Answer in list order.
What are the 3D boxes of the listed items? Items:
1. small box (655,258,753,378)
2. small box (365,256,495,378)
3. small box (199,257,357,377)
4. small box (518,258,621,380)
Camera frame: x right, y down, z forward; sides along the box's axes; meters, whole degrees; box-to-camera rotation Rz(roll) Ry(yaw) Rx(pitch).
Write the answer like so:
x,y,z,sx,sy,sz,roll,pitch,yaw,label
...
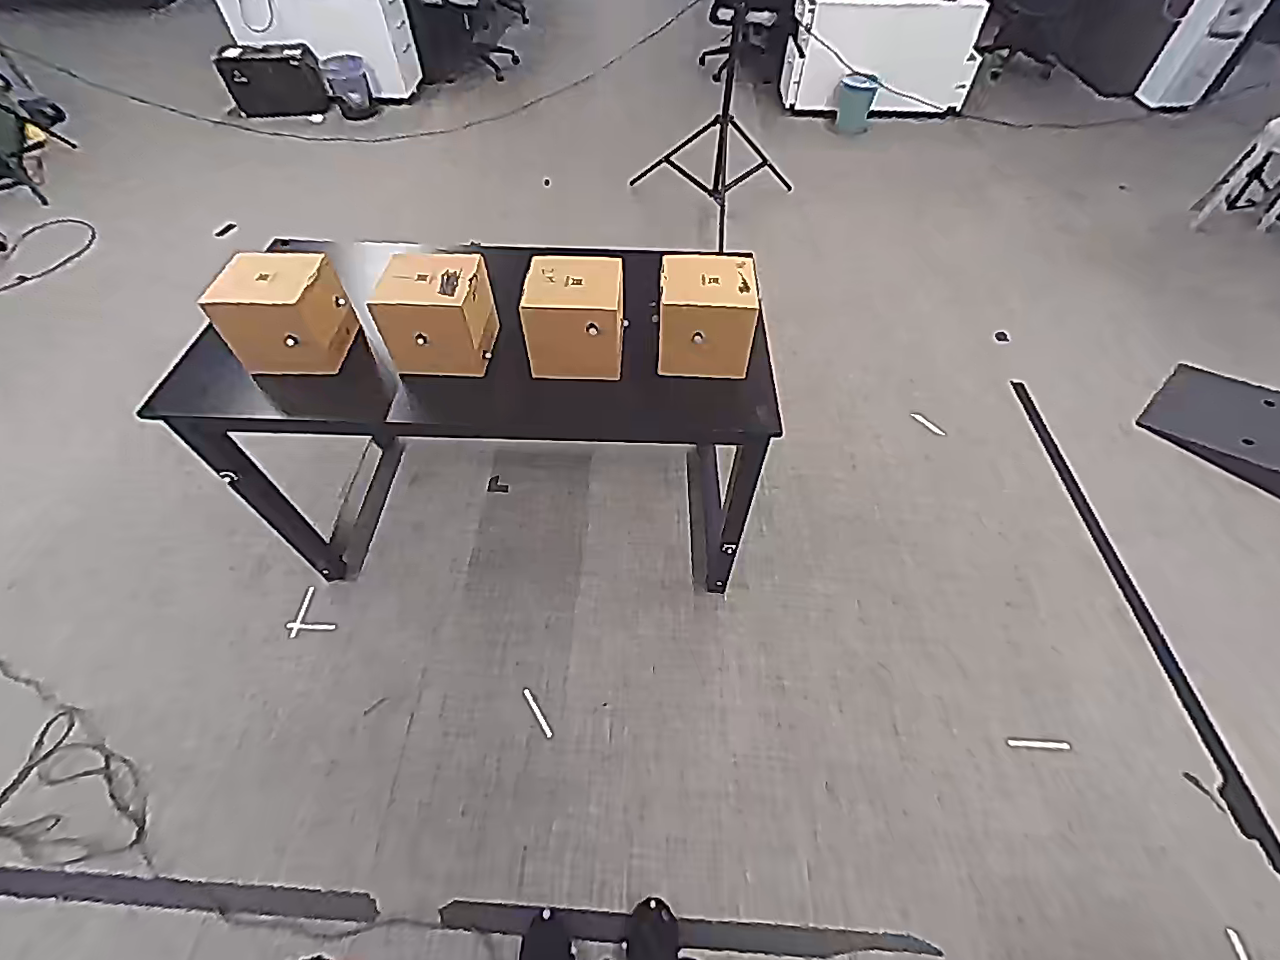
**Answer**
x,y,z,sx,sy,sz,roll,pitch,yaw,label
0.121,-0.316,1.068,0.179,0.176,0.168,1,53,2,small box
-0.398,-0.317,1.065,0.179,0.176,0.168,2,53,2,small box
-0.693,-0.316,1.064,0.179,0.176,0.168,-1,52,-1,small box
-0.128,-0.311,1.062,0.179,0.176,0.168,1,52,0,small box
